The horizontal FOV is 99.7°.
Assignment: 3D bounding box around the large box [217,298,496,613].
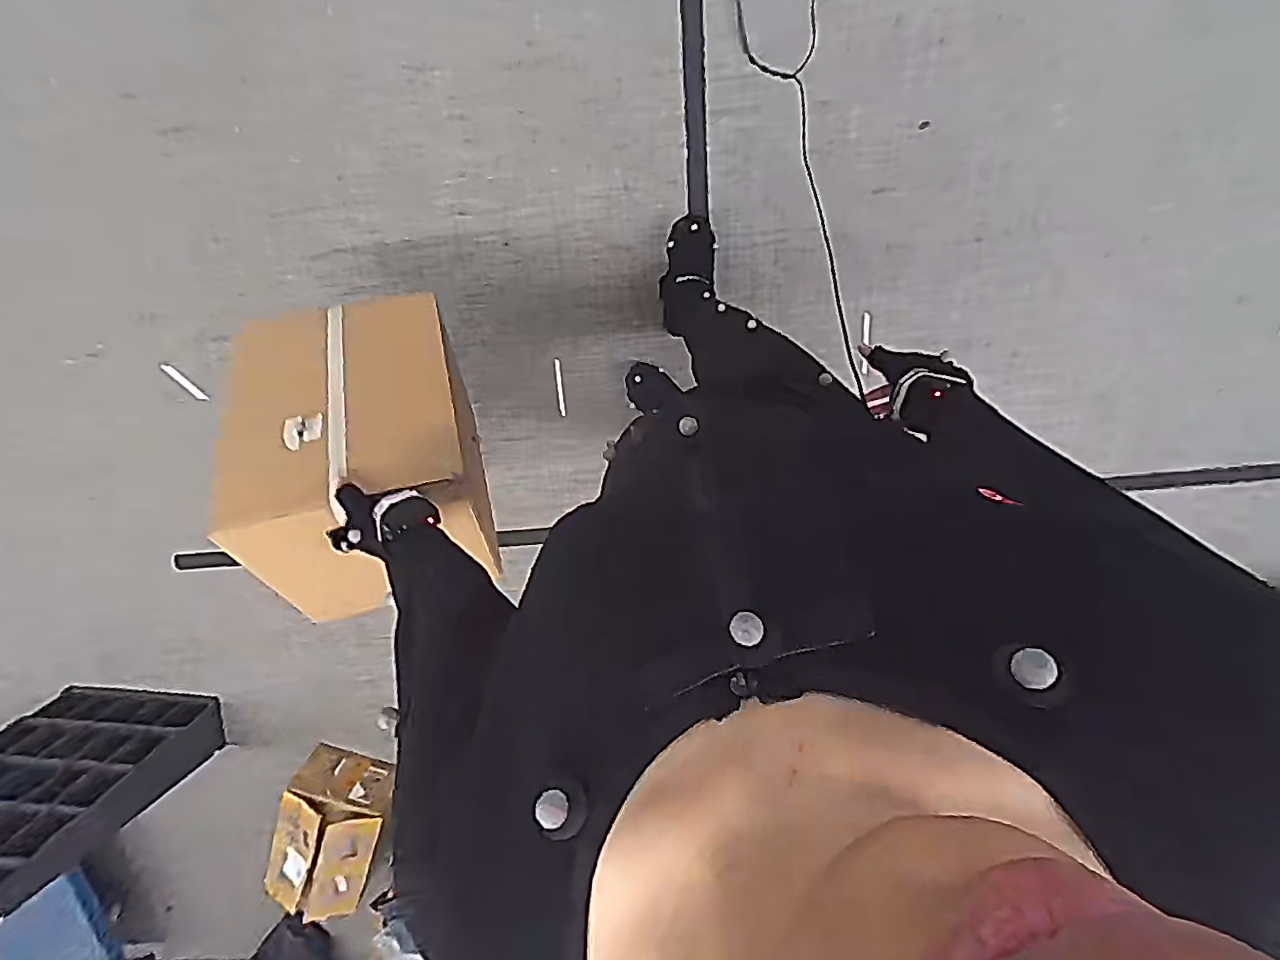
[{"bbox_3d":[-0.451,-0.044,0.924,0.320,0.408,0.320,-13,148,-12],"label":"large box"}]
